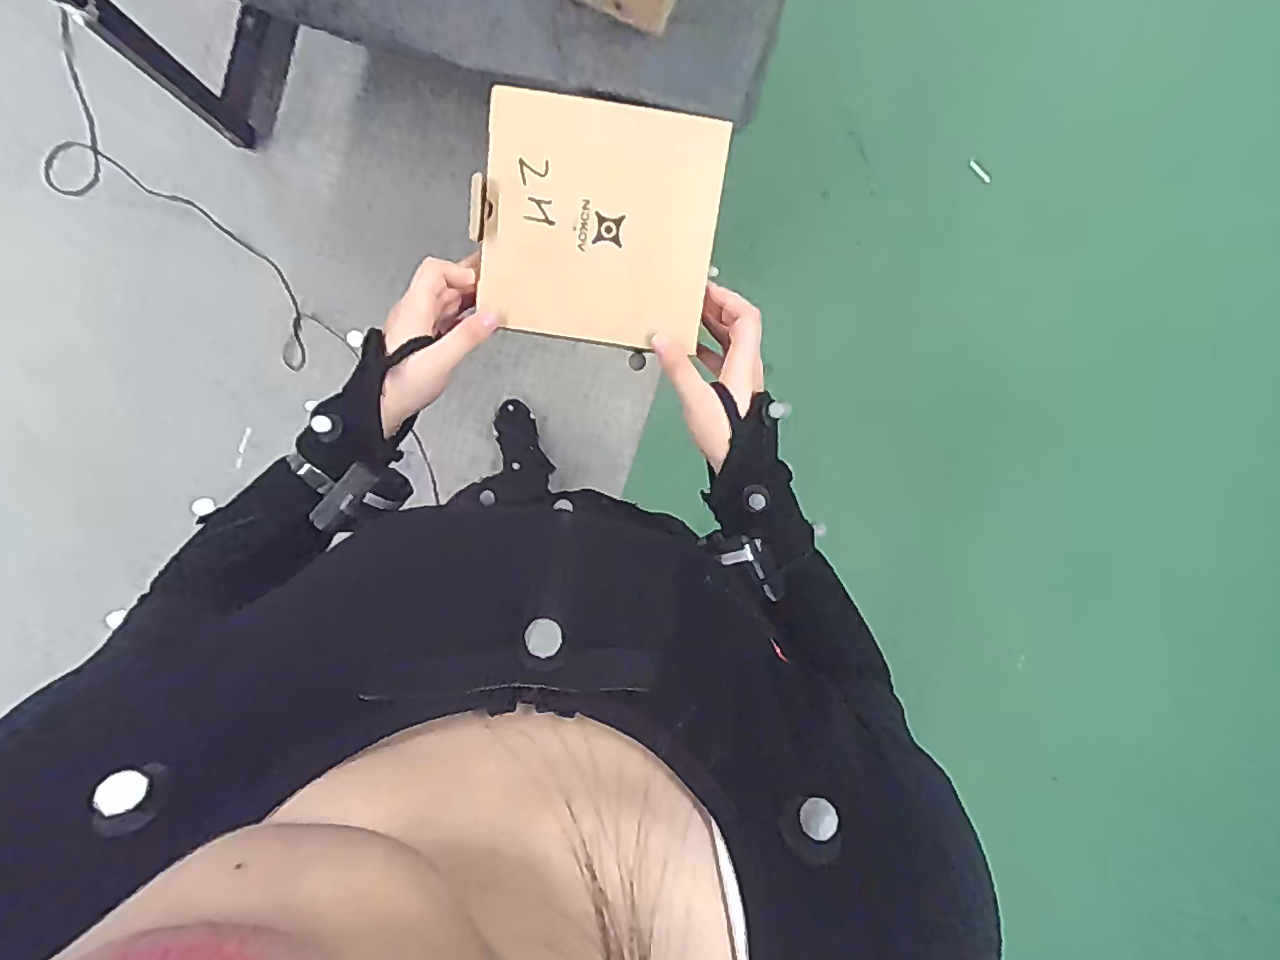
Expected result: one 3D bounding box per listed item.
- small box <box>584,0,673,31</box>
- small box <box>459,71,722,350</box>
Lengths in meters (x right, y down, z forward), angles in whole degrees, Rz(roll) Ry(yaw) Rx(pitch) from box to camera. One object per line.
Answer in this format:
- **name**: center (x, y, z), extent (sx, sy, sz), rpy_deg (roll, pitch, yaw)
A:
- **small box**: center (-0.013, -0.690, 0.622), extent (0.168, 0.176, 0.179), rpy_deg (22, 90, -3)
- **small box**: center (-0.038, -0.209, 0.469), extent (0.179, 0.176, 0.168), rpy_deg (8, 102, 0)
